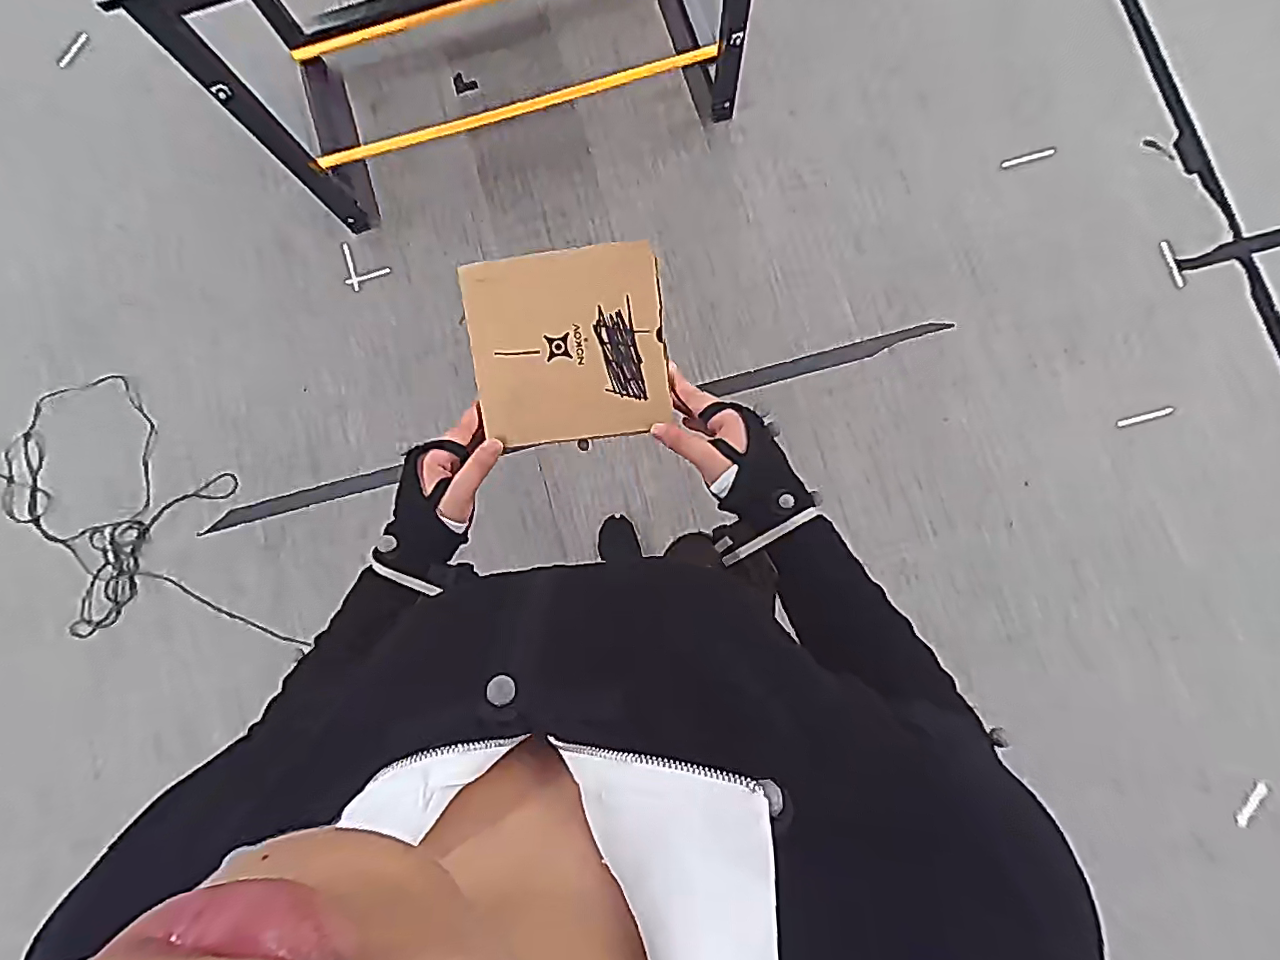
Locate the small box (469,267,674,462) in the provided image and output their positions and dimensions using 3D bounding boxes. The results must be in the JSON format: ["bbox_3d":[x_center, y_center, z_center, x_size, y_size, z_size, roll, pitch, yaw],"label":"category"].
[{"bbox_3d":[-0.061,-0.117,0.578,0.179,0.176,0.168,-6,98,3],"label":"small box"}]
